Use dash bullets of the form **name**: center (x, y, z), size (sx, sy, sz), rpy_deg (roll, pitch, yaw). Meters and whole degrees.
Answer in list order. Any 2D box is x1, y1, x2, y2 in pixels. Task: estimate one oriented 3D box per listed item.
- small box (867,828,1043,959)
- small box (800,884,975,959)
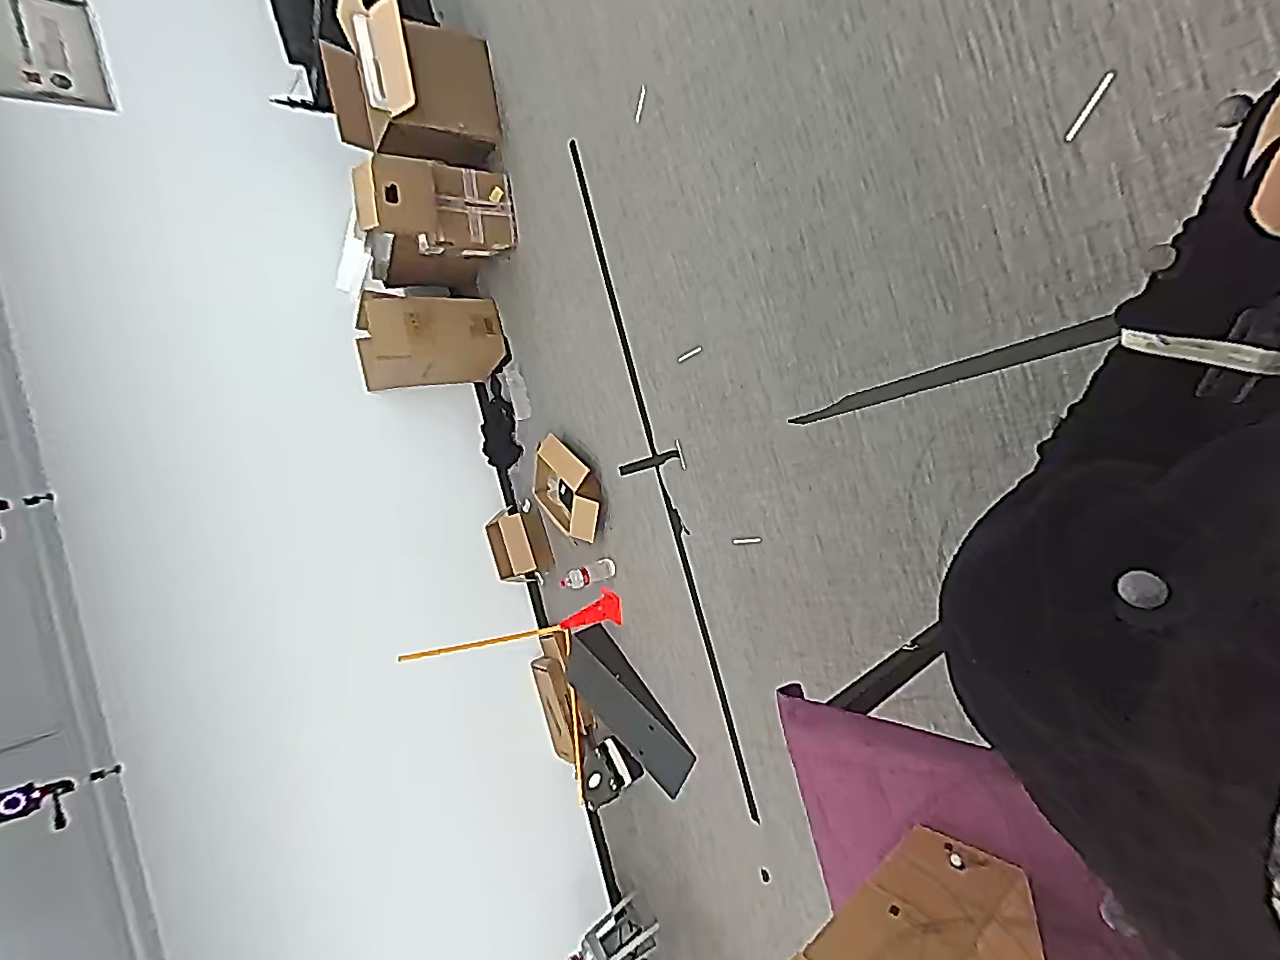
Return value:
- **small box**: center (0.482, 0.687, 0.824), size (0.168, 0.176, 0.179), rpy_deg (-10, 93, 56)
- **small box**: center (0.349, 0.716, 0.733), size (0.168, 0.176, 0.179), rpy_deg (-7, 97, 55)
